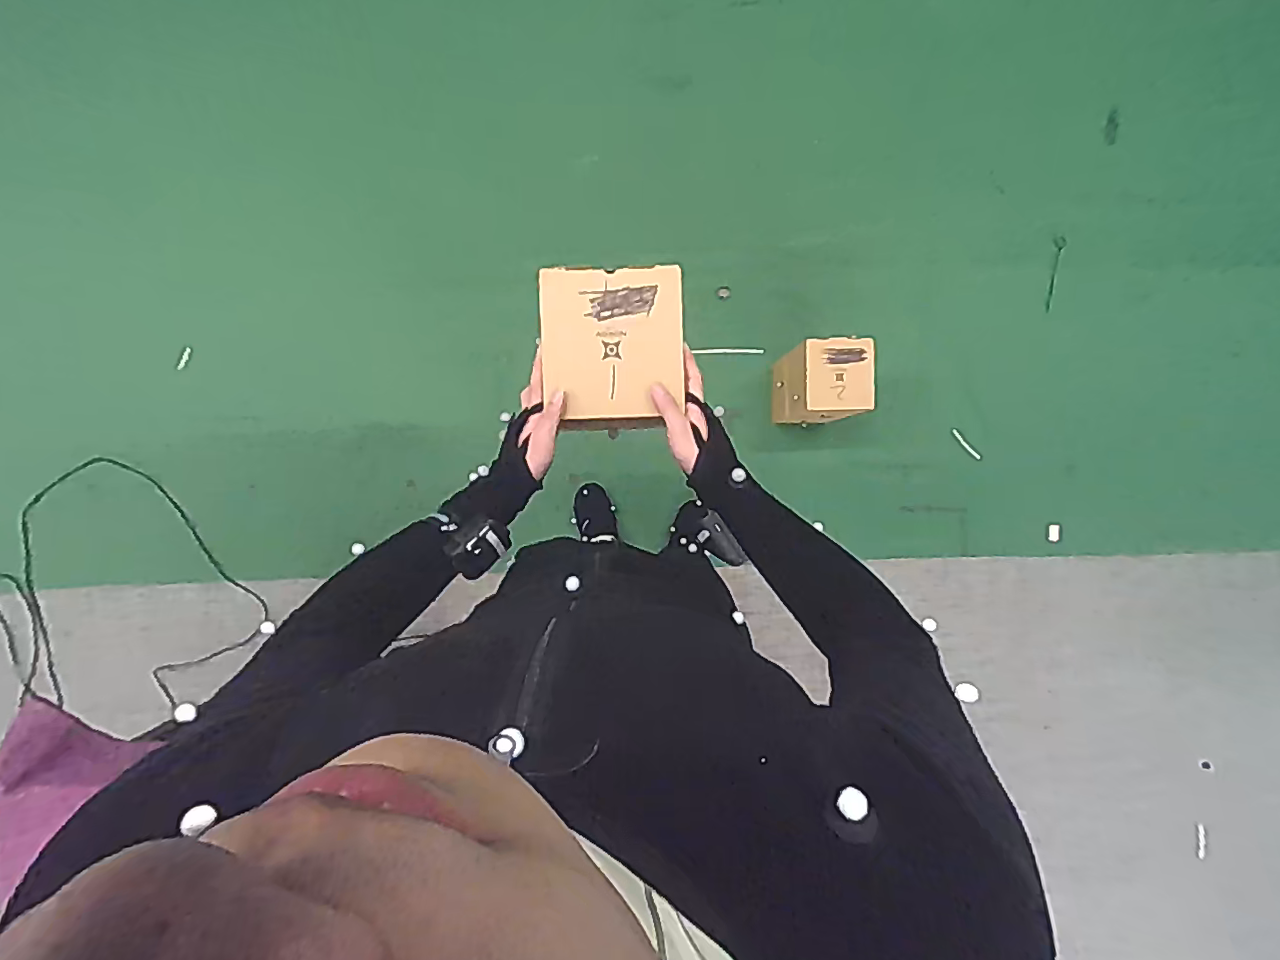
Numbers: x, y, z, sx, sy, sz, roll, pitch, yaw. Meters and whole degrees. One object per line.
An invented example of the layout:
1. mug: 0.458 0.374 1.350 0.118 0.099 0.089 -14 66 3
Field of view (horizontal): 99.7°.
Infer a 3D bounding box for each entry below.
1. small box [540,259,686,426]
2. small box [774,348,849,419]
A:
1. small box: -0.032 -0.164 0.695 0.168 0.176 0.179 -2 92 0
2. small box: 0.483 -0.272 1.544 0.168 0.176 0.179 0 92 1
